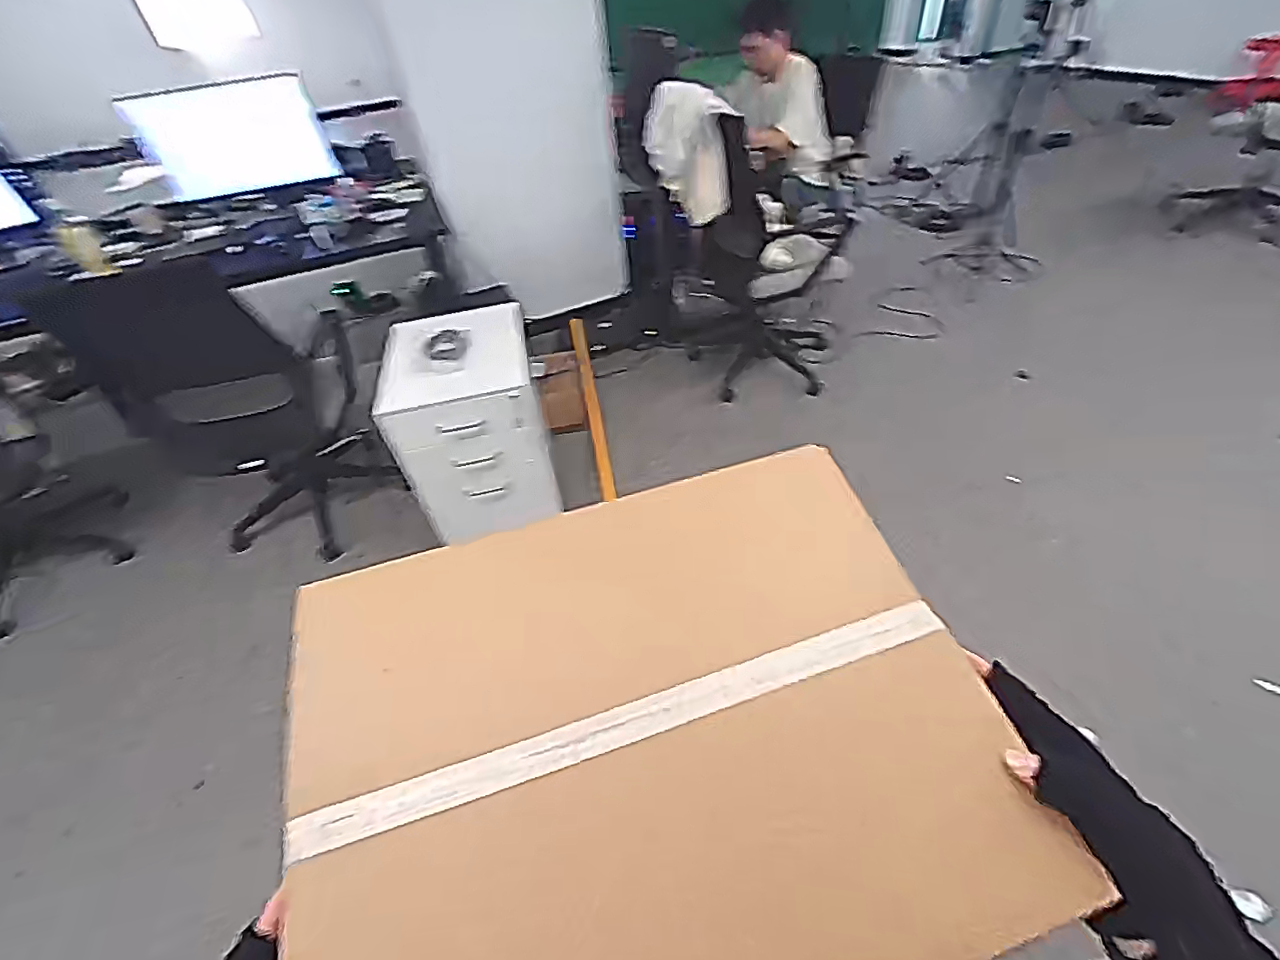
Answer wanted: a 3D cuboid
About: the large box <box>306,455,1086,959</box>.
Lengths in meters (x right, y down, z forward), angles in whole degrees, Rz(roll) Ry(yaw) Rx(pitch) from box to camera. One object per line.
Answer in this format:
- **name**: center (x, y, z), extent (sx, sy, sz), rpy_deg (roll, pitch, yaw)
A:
- **large box**: center (0.010, 0.234, 0.456), extent (0.408, 0.320, 0.320), rpy_deg (-16, 56, -8)
